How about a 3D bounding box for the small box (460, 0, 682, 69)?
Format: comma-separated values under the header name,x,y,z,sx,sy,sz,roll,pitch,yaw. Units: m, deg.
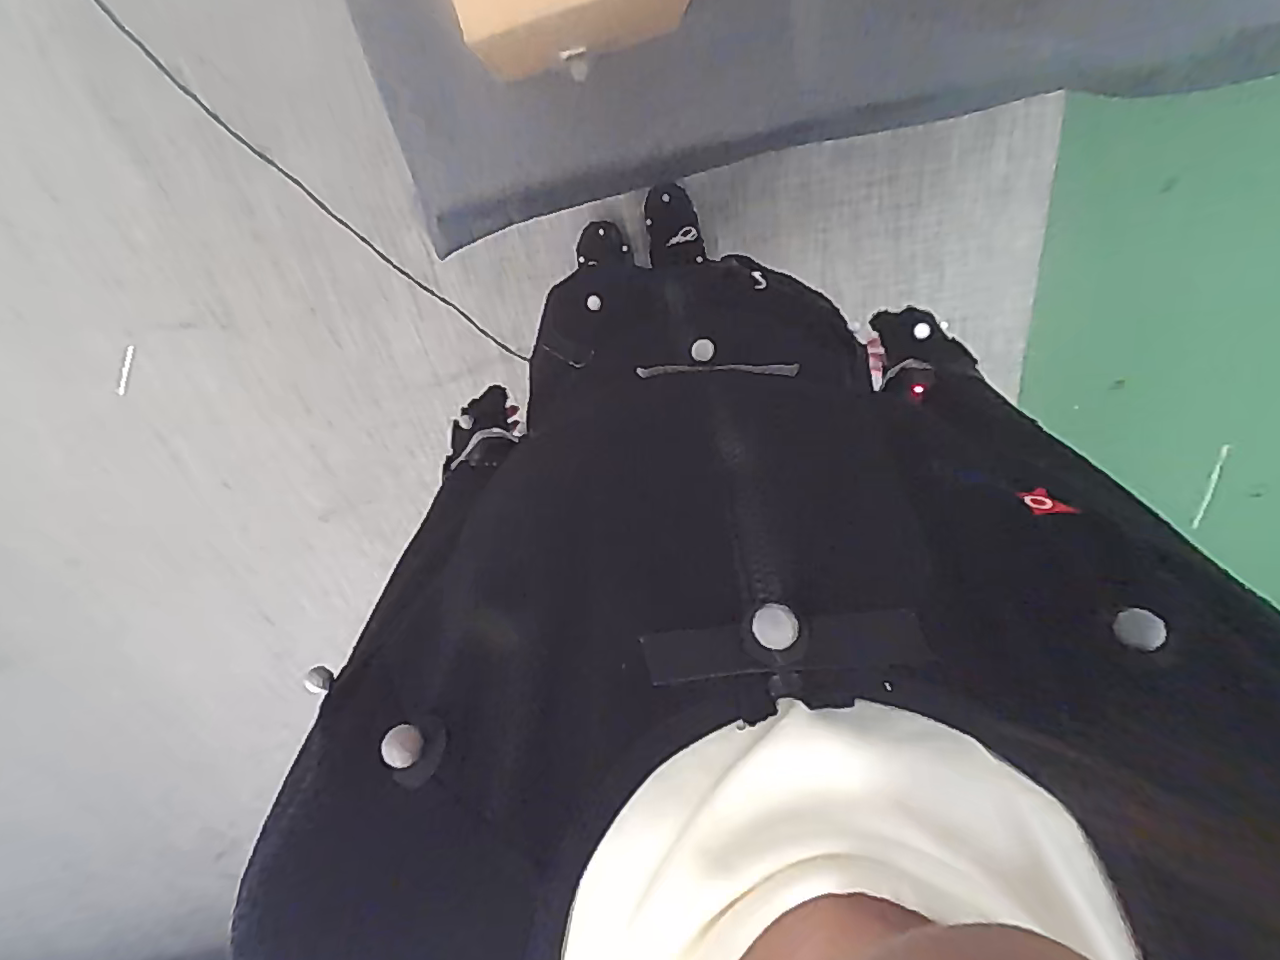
name,x,y,z,sx,sy,sz,roll,pitch,yaw
small box,-0.061,-0.429,0.379,0.168,0.176,0.179,-15,119,5
